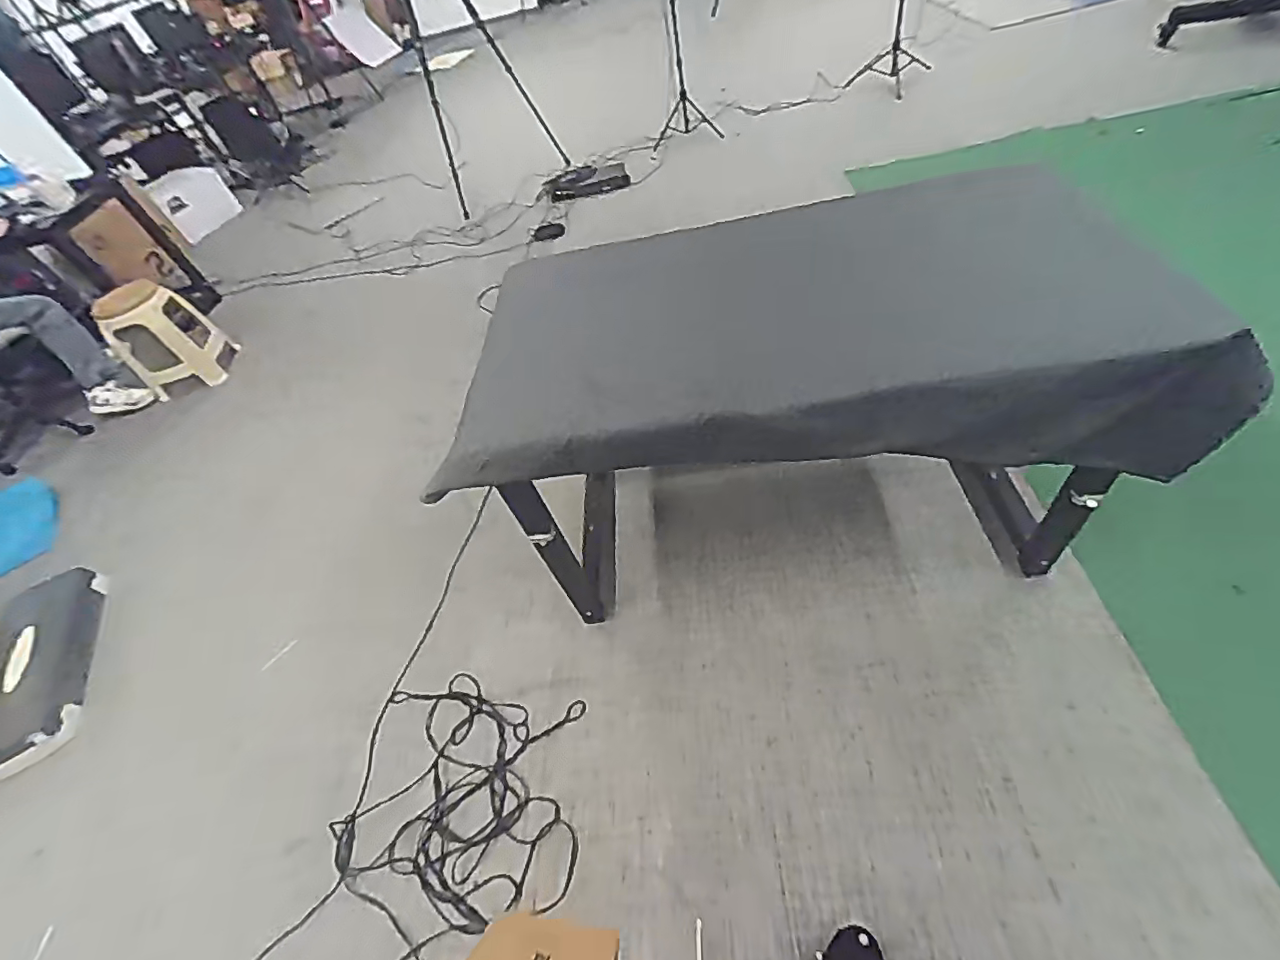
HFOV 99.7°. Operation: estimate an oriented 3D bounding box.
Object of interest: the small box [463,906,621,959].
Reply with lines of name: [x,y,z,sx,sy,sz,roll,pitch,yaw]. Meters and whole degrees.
small box: [-0.119,0.616,0.588,0.168,0.179,0.176,5,77,6]
